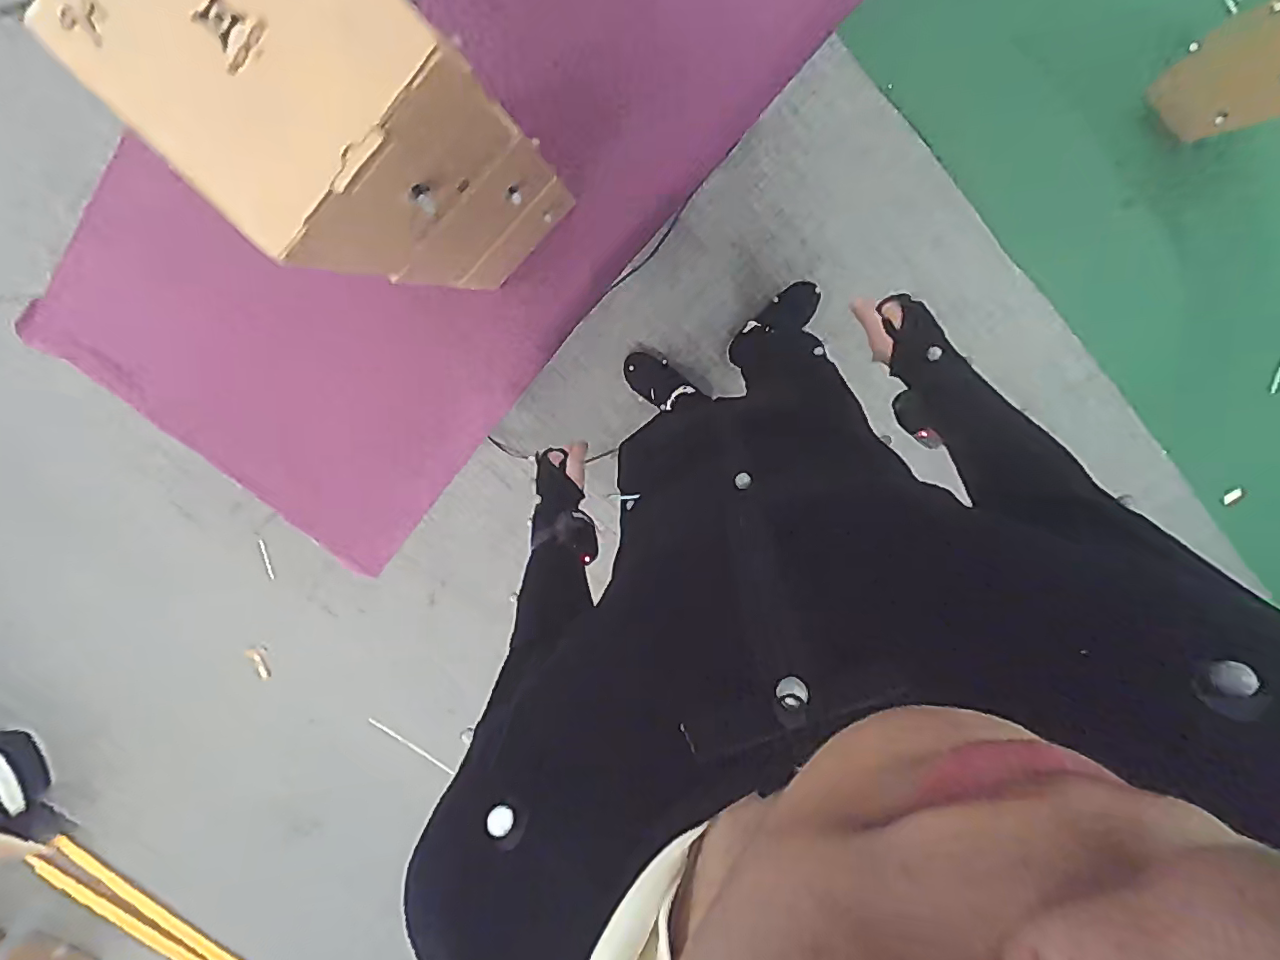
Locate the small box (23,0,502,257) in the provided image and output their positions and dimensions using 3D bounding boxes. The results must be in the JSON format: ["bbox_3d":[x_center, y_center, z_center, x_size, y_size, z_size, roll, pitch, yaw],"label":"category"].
[{"bbox_3d":[-0.226,-0.280,0.378,0.168,0.176,0.179,-41,103,13],"label":"small box"}]

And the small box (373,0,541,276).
[{"bbox_3d":[-0.216,-0.326,0.534,0.179,0.176,0.168,-41,103,14],"label":"small box"}]

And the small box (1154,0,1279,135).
[{"bbox_3d":[1.340,-0.915,1.215,0.179,0.176,0.168,39,106,-11],"label":"small box"}]
